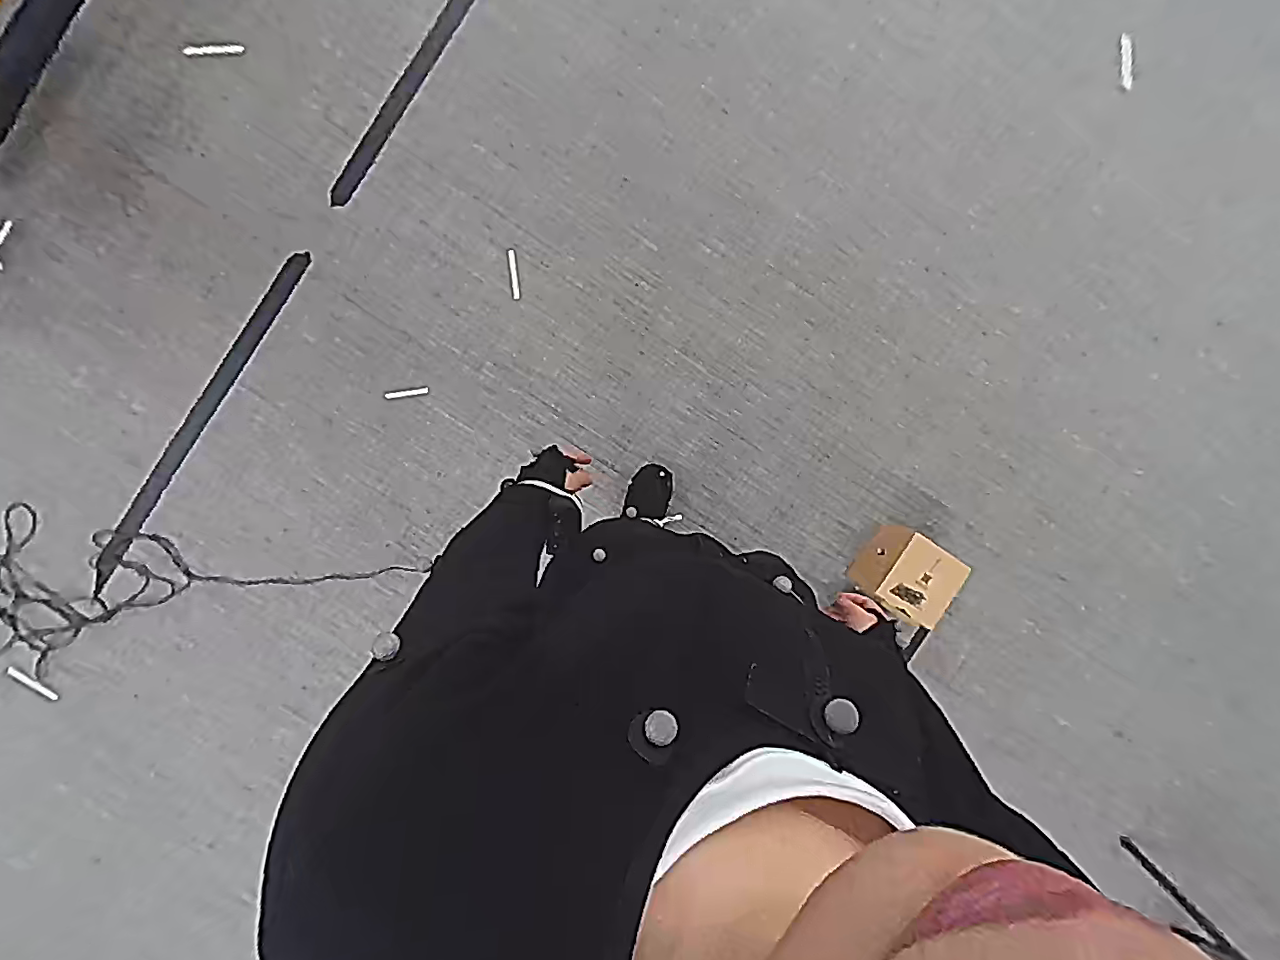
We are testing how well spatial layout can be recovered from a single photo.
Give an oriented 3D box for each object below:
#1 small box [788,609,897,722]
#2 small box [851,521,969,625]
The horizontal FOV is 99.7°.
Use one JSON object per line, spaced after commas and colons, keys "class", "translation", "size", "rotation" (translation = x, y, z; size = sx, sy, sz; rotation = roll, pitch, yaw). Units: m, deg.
{"class": "small box", "translation": [0.495, 0.456, 1.357], "size": [0.168, 0.176, 0.179], "rotation": [35, 92, -3]}
{"class": "small box", "translation": [0.653, 0.221, 1.340], "size": [0.168, 0.176, 0.179], "rotation": [34, 92, -4]}
